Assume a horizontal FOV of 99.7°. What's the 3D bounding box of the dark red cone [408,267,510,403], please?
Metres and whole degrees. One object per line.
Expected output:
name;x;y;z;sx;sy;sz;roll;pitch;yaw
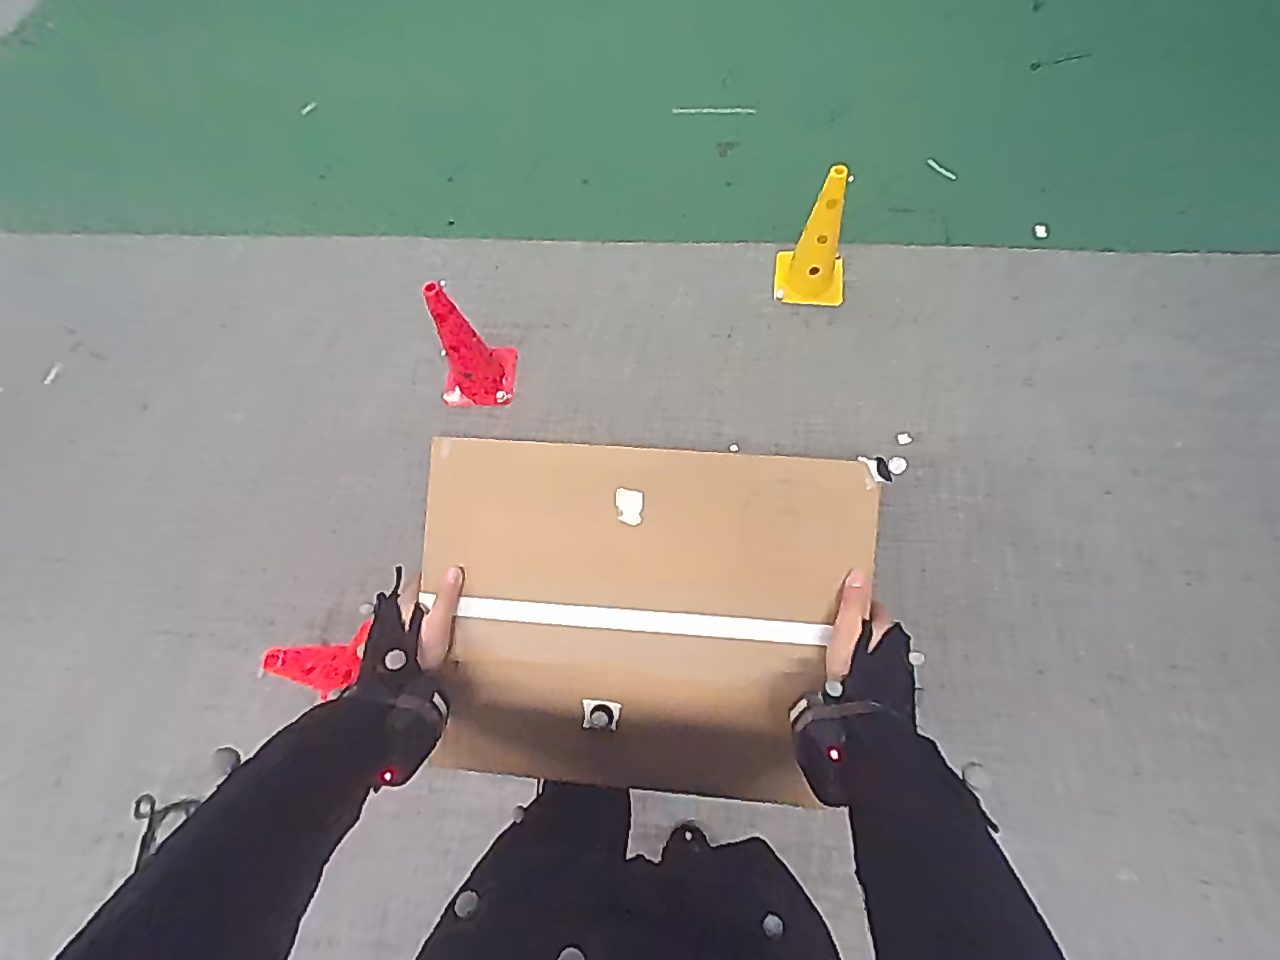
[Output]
dark red cone;-0.489;-0.383;1.403;0.202;0.394;0.201;-4;62;4

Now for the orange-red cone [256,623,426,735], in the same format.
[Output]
orange-red cone;-0.630;0.379;1.089;0.199;0.360;0.198;22;68;16
